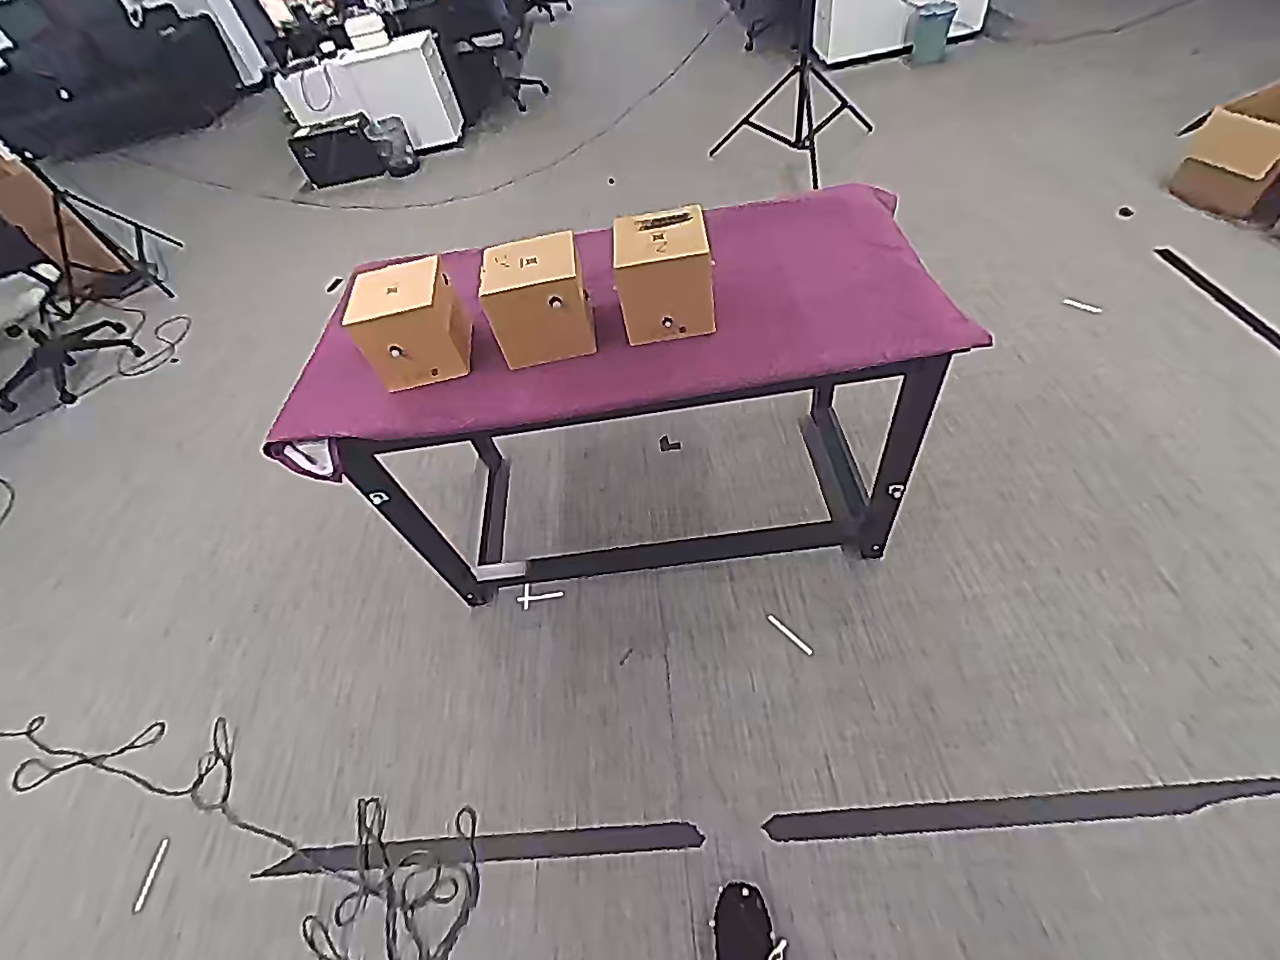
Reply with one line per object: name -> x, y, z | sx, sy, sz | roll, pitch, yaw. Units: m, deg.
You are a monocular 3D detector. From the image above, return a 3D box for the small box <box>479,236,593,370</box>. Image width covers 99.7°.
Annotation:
small box -> -0.191, -0.337, 1.041 | 0.179, 0.176, 0.168 | -11, 50, 2

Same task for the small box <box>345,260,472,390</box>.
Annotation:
small box -> -0.443, -0.297, 1.065 | 0.168, 0.176, 0.179 | -14, 50, 1
